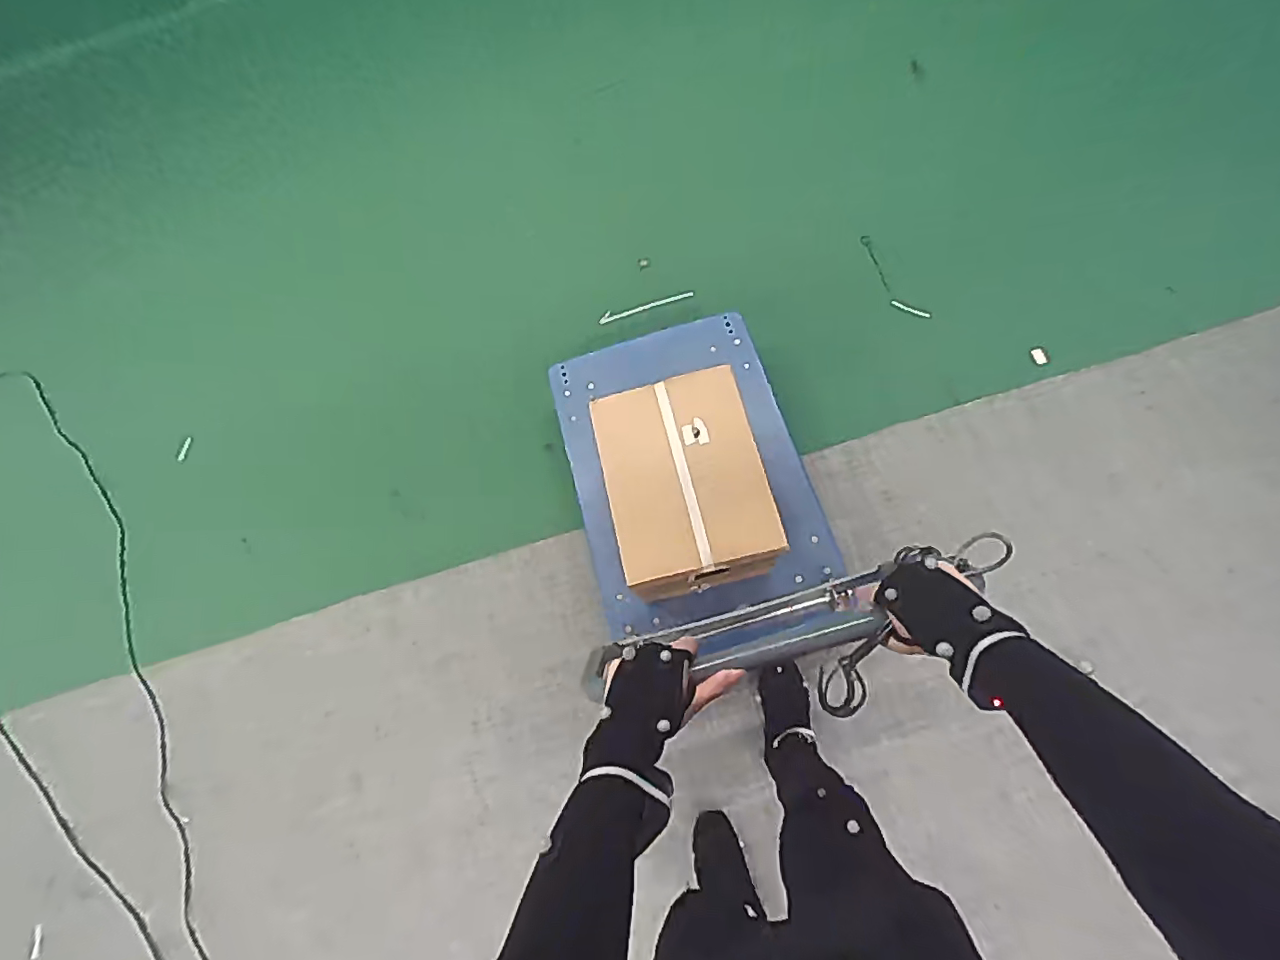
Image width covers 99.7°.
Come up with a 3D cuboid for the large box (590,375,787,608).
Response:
[{"bbox_3d":[0.105,0.043,1.219,0.320,0.320,0.408,-14,70,2],"label":"large box"}]
